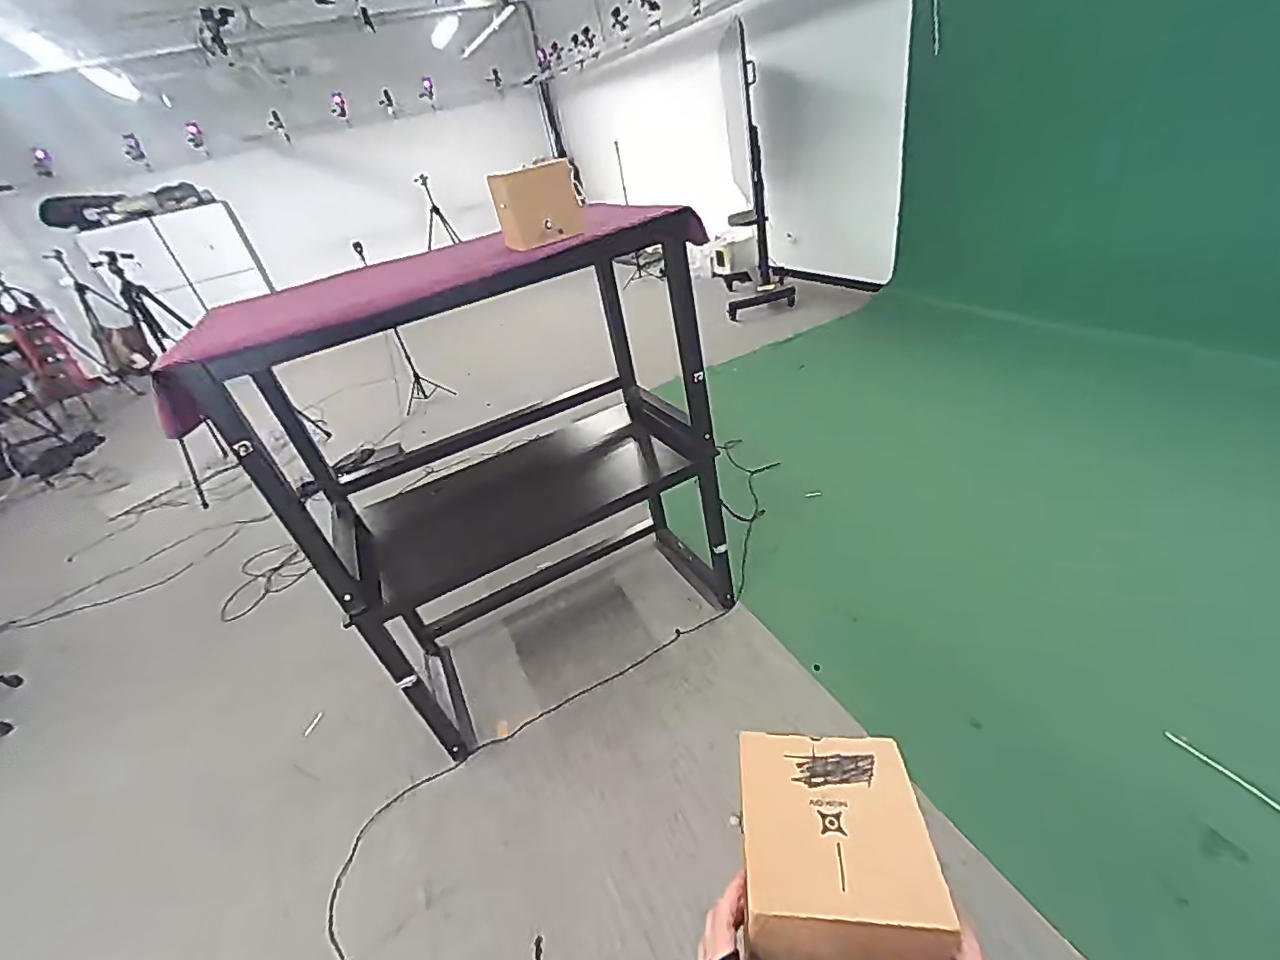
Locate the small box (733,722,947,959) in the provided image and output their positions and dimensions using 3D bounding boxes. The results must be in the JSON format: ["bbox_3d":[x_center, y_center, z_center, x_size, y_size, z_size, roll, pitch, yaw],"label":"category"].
[{"bbox_3d":[0.183,0.383,0.558,0.168,0.176,0.179,-1,27,7],"label":"small box"}]
